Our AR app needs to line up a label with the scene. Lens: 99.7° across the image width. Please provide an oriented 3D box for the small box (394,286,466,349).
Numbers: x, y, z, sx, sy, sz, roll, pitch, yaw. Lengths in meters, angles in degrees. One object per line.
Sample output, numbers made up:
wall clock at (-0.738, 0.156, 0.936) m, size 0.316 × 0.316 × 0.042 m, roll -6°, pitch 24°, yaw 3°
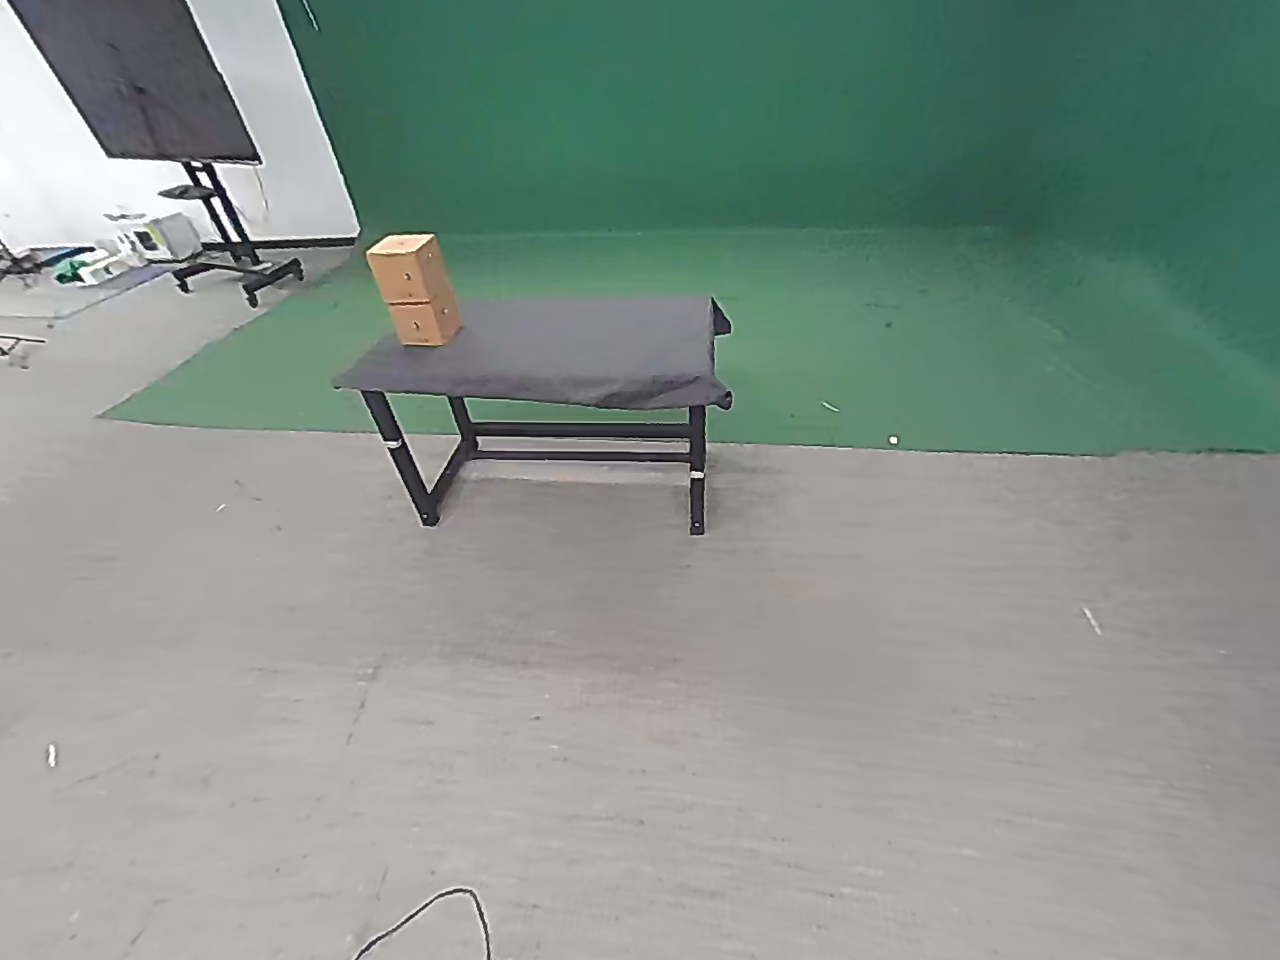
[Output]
small box at (-0.752, -0.589, 1.961) m, size 0.168 × 0.176 × 0.179 m, roll 4°, pitch 42°, yaw 9°

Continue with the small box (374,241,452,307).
small box at (-0.764, -0.703, 1.845) m, size 0.168 × 0.176 × 0.179 m, roll 2°, pitch 40°, yaw 7°
